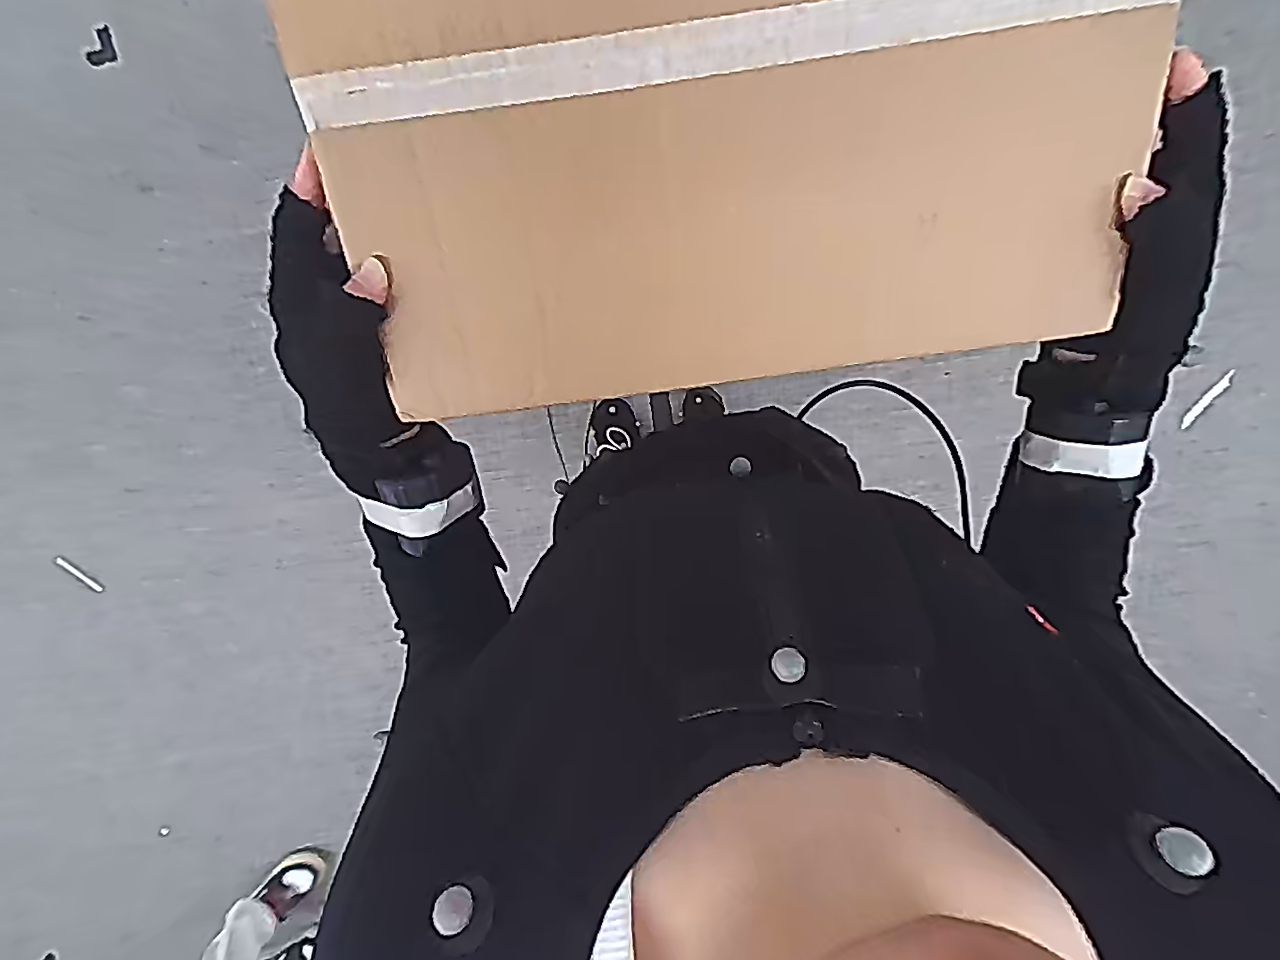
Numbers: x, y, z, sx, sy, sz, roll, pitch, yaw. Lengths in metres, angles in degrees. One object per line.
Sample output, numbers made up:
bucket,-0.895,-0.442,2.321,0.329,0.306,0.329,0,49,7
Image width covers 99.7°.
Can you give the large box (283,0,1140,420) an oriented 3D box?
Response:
large box,0.036,-0.261,0.395,0.408,0.320,0.320,-7,113,1
